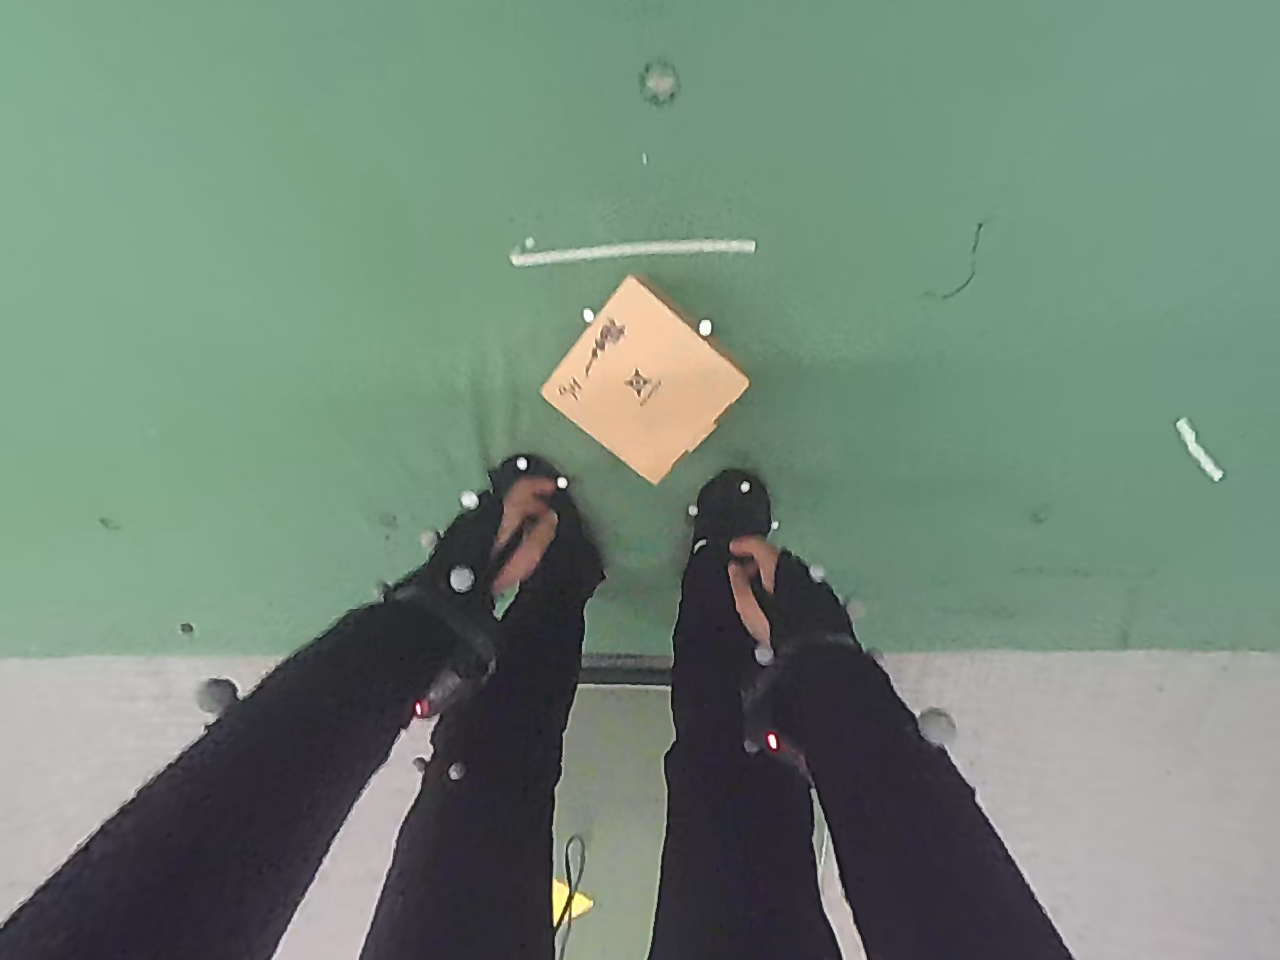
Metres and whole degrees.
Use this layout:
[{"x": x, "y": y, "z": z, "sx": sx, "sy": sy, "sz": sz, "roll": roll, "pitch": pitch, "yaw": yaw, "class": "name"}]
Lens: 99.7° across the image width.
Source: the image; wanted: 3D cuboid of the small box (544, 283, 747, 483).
[{"x": 0.010, "y": -0.133, "z": 0.687, "sx": 0.179, "sy": 0.176, "sz": 0.168, "roll": 39, "pitch": 109, "yaw": -11, "class": "small box"}]
